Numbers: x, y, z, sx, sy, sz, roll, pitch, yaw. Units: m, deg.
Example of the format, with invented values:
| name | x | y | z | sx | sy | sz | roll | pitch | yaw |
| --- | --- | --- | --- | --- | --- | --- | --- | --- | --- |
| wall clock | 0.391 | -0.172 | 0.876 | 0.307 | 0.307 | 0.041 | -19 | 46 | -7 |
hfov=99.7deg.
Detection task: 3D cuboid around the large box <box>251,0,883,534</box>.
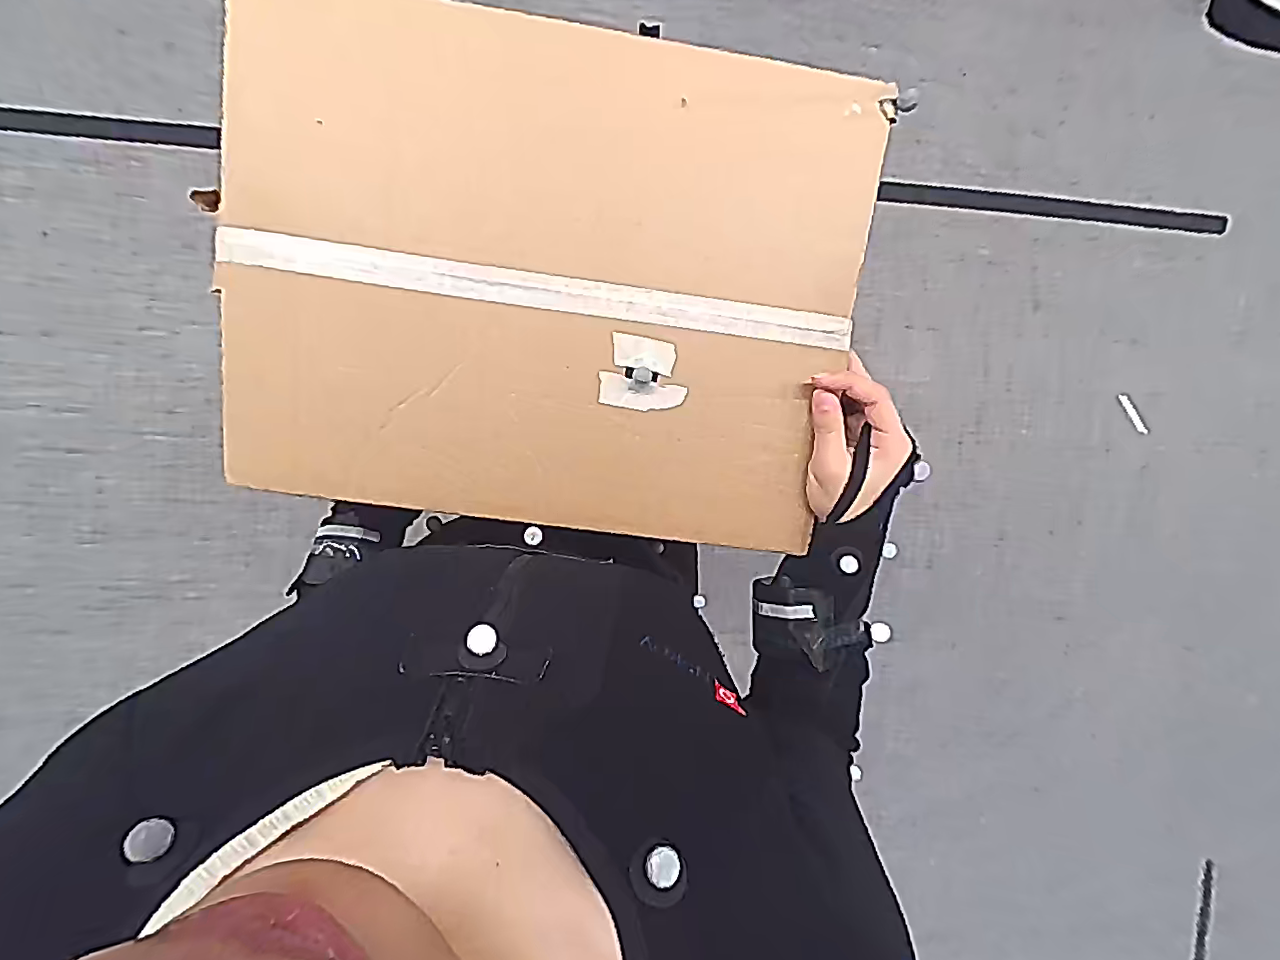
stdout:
| name | x | y | z | sx | sy | sz | roll | pitch | yaw |
| --- | --- | --- | --- | --- | --- | --- | --- | --- | --- |
| large box | -0.063 | -0.152 | 0.509 | 0.408 | 0.320 | 0.320 | 6 | 100 | -5 |
